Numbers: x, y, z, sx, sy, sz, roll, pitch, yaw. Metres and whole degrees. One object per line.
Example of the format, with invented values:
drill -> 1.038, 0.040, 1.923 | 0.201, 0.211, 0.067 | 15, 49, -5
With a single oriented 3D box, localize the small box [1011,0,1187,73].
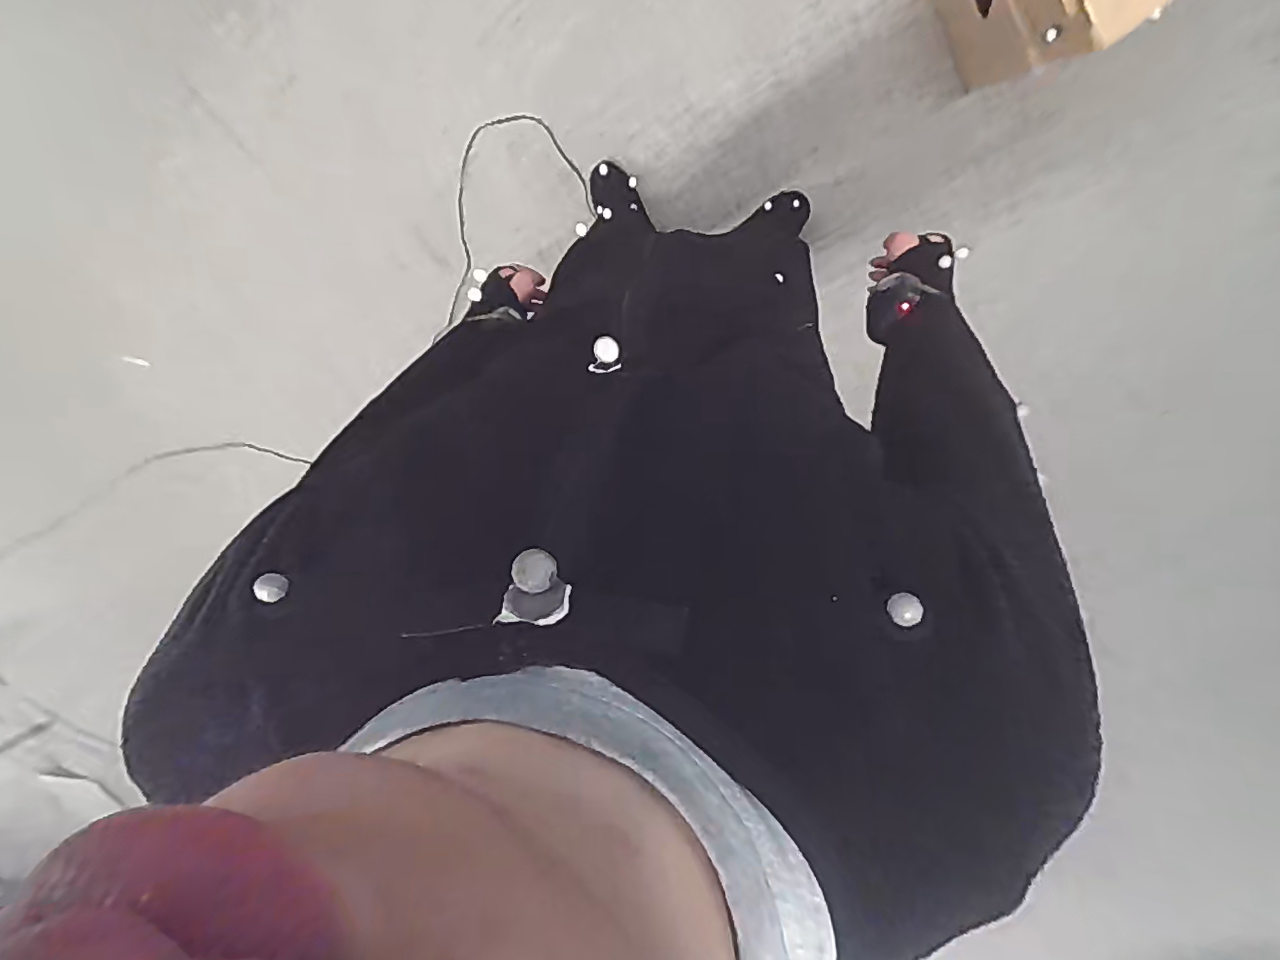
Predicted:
small box -> 0.641, -0.698, 0.734 | 0.179, 0.176, 0.168 | -33, 112, 25
